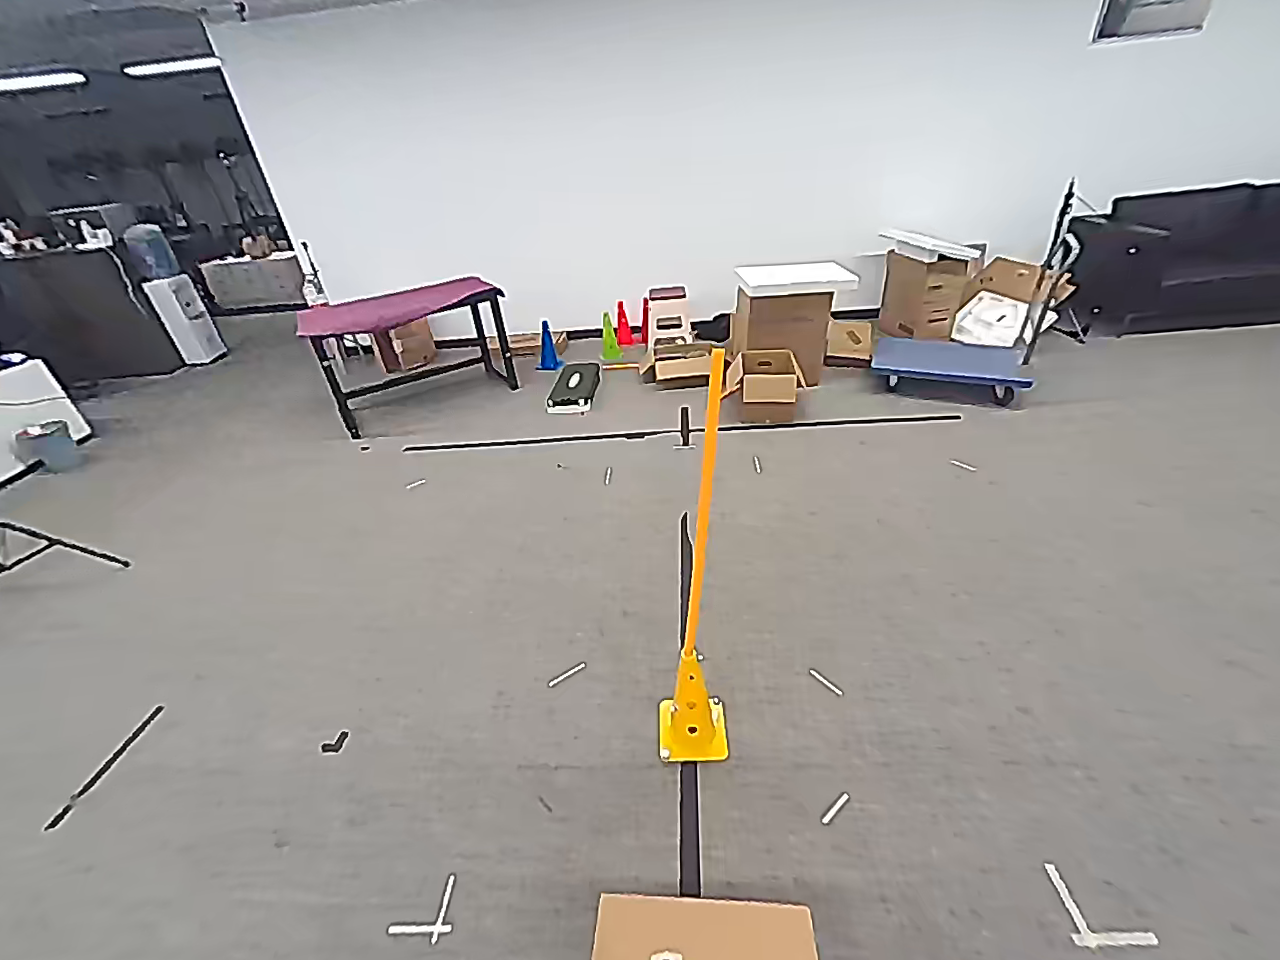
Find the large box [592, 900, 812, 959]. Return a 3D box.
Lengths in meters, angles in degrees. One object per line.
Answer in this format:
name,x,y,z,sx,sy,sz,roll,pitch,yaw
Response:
large box,0.119,1.024,0.991,0.408,0.320,0.320,-2,29,5
